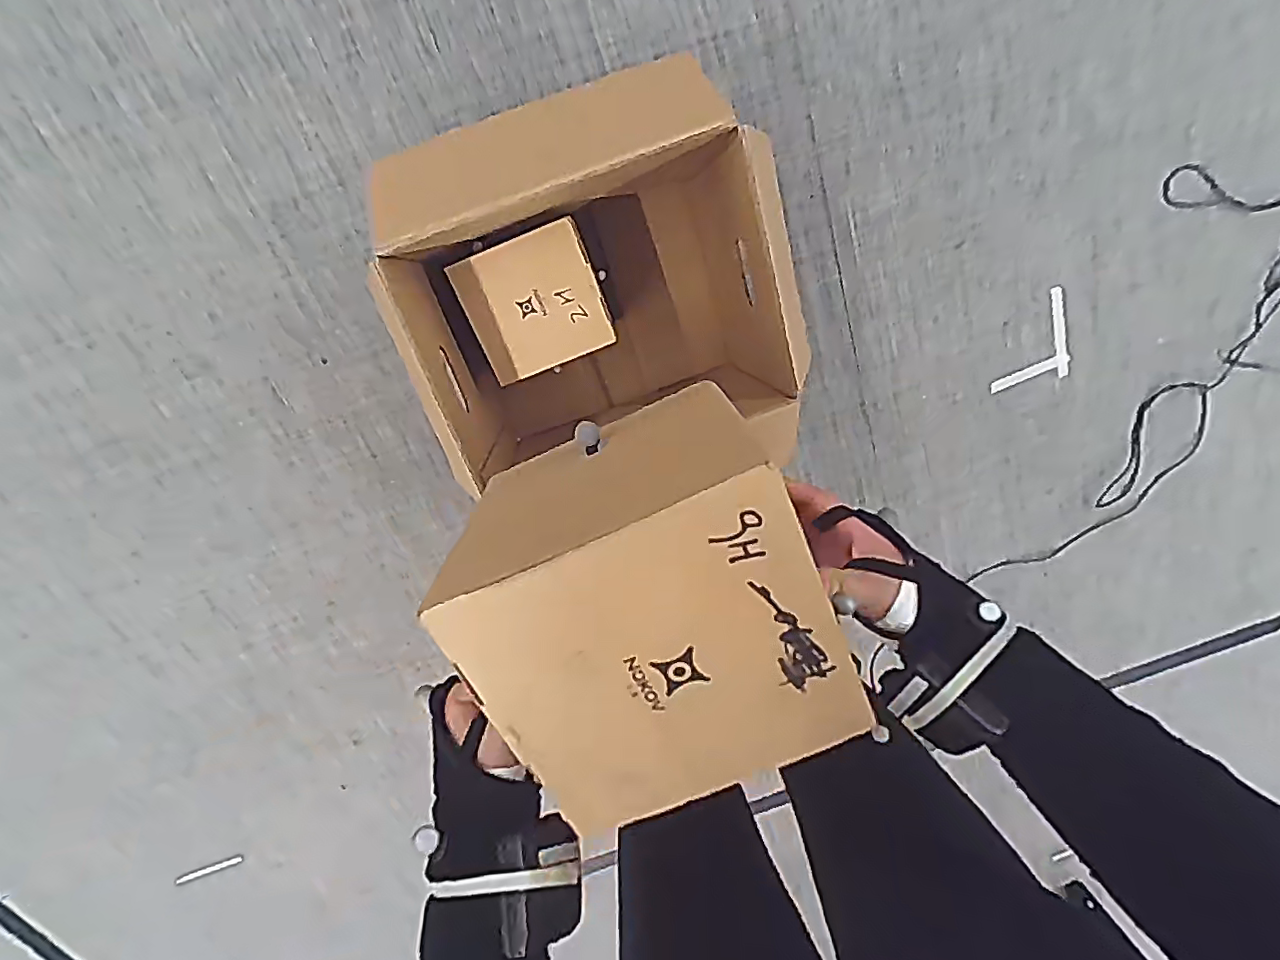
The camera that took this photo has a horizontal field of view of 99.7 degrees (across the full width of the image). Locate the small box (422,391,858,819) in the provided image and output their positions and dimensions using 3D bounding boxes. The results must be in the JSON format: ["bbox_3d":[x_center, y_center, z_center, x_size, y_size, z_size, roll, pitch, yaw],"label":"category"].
[{"bbox_3d":[0.005,0.063,0.344,0.179,0.176,0.168,-23,112,8],"label":"small box"}]
